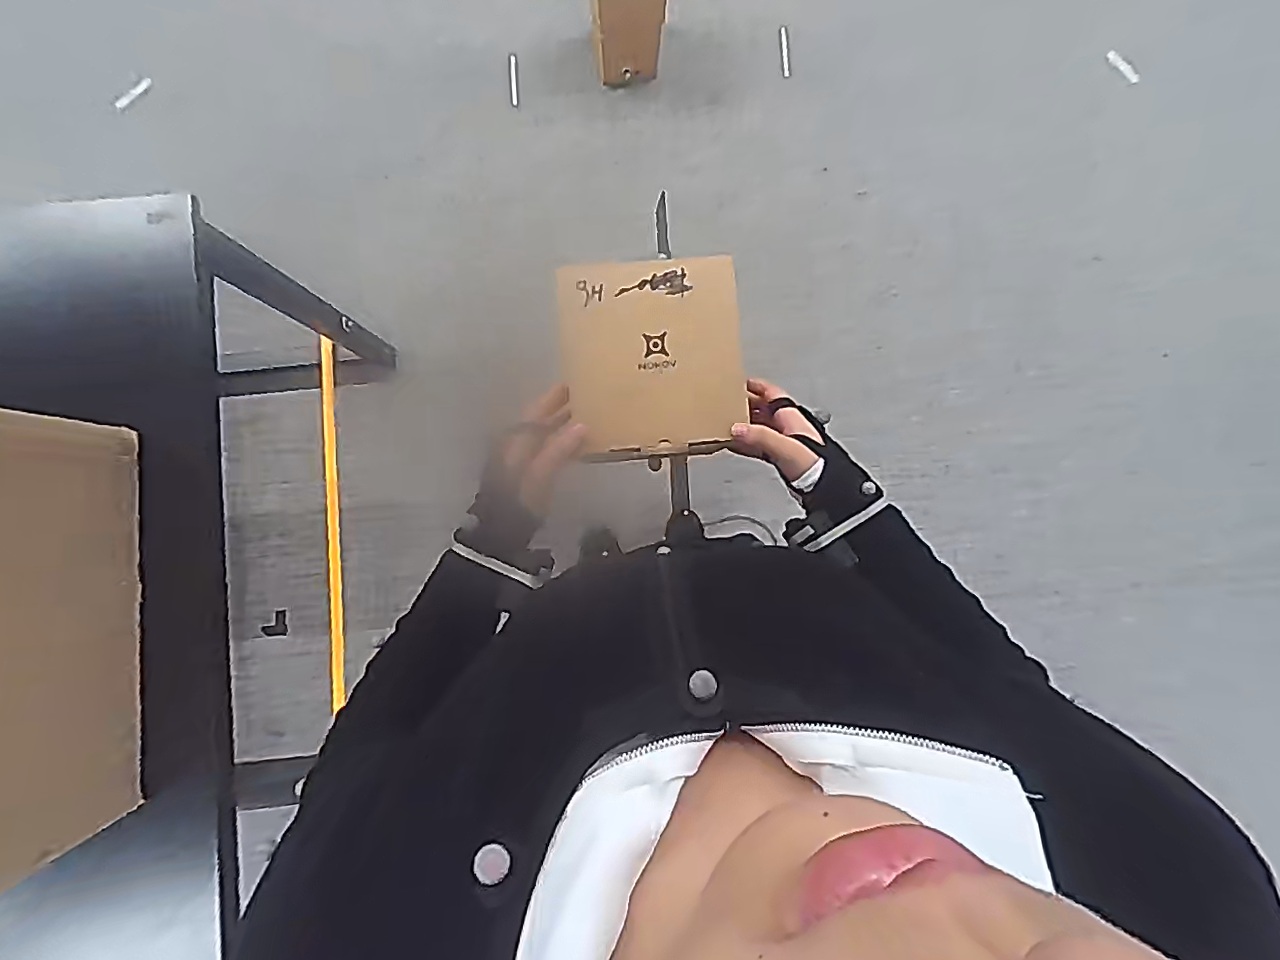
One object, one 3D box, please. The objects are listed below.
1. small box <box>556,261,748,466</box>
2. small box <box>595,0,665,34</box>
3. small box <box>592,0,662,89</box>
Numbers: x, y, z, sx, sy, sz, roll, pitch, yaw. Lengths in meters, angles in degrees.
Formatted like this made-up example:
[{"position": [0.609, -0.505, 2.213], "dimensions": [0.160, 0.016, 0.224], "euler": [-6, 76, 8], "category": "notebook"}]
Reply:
[{"position": [0.008, -0.108, 0.572], "dimensions": [0.168, 0.176, 0.179], "euler": [-6, 90, -4], "category": "small box"}, {"position": [-0.032, -1.255, 1.338], "dimensions": [0.179, 0.176, 0.168], "euler": [-9, 87, -2], "category": "small box"}, {"position": [-0.039, -1.243, 1.502], "dimensions": [0.168, 0.176, 0.179], "euler": [-11, 88, -1], "category": "small box"}]
